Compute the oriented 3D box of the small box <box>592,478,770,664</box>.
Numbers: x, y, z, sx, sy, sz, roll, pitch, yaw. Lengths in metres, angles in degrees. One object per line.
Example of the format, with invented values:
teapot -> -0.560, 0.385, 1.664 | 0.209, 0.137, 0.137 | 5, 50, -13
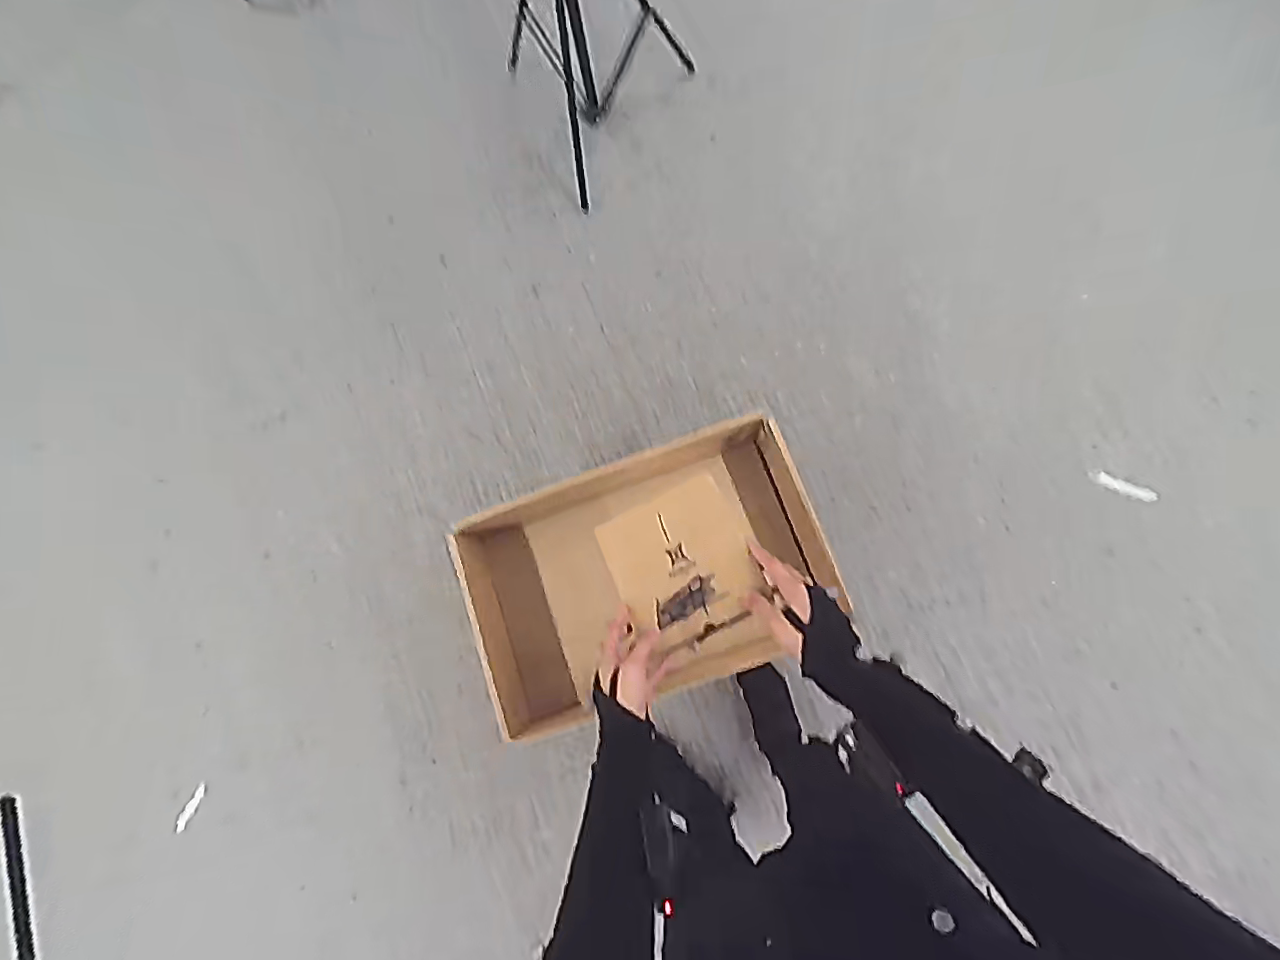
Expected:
small box -> 0.063, 0.123, 0.717 | 0.168, 0.176, 0.179 | -27, 71, 6
